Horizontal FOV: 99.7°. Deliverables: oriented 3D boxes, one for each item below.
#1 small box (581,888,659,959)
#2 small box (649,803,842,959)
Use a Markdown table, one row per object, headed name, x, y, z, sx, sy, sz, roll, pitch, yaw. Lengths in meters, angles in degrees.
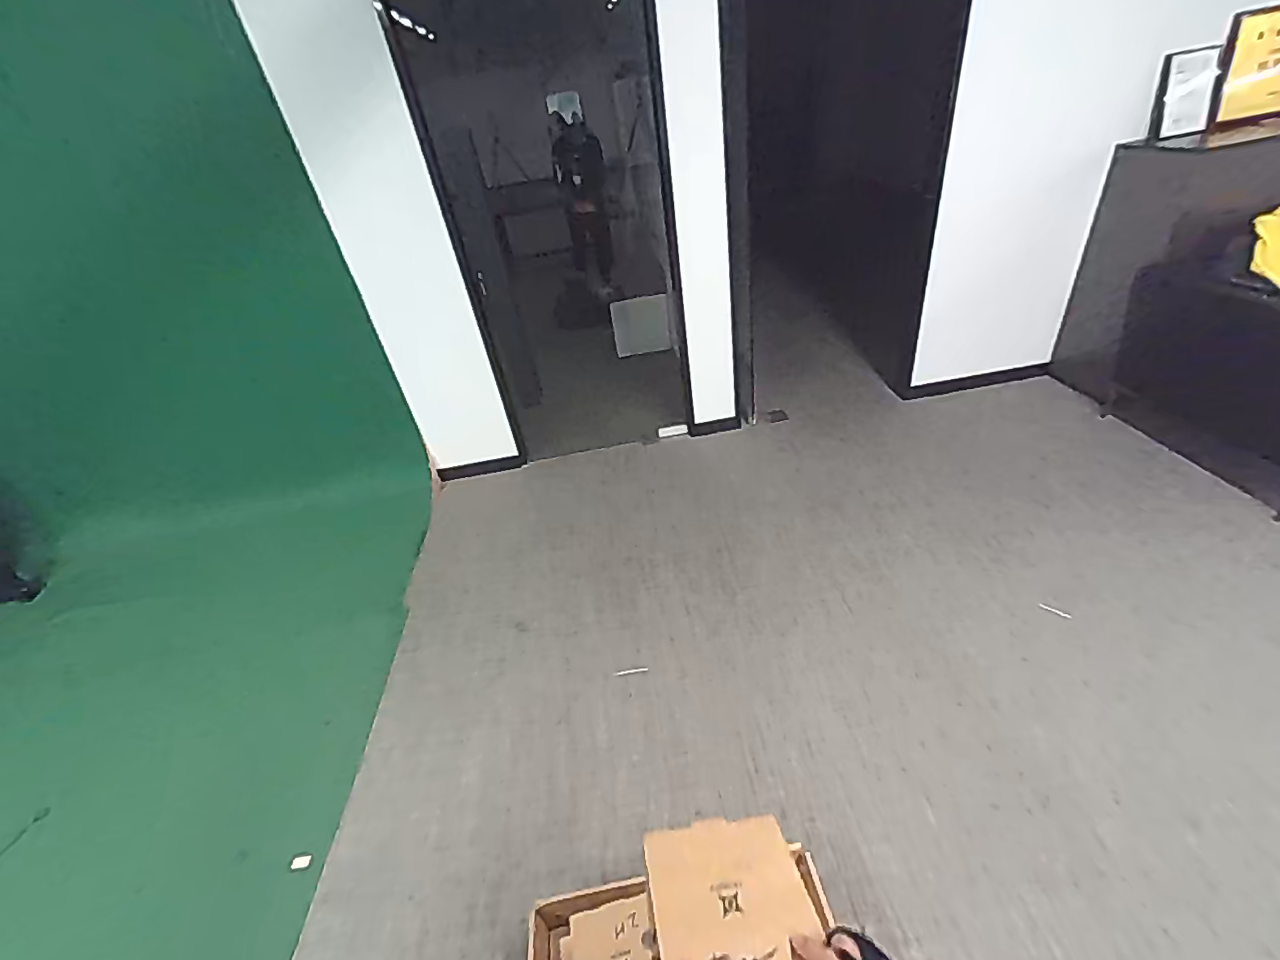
| name | x | y | z | sx | sy | sz | roll | pitch | yaw |
| --- | --- | --- | --- | --- | --- | --- | --- | --- | --- |
| small box | -0.003 | 0.882 | 0.977 | 0.168 | 0.176 | 0.179 | -12 | 37 | -6 |
| small box | 0.104 | 0.505 | 0.597 | 0.168 | 0.176 | 0.179 | -6 | 18 | -5 |
